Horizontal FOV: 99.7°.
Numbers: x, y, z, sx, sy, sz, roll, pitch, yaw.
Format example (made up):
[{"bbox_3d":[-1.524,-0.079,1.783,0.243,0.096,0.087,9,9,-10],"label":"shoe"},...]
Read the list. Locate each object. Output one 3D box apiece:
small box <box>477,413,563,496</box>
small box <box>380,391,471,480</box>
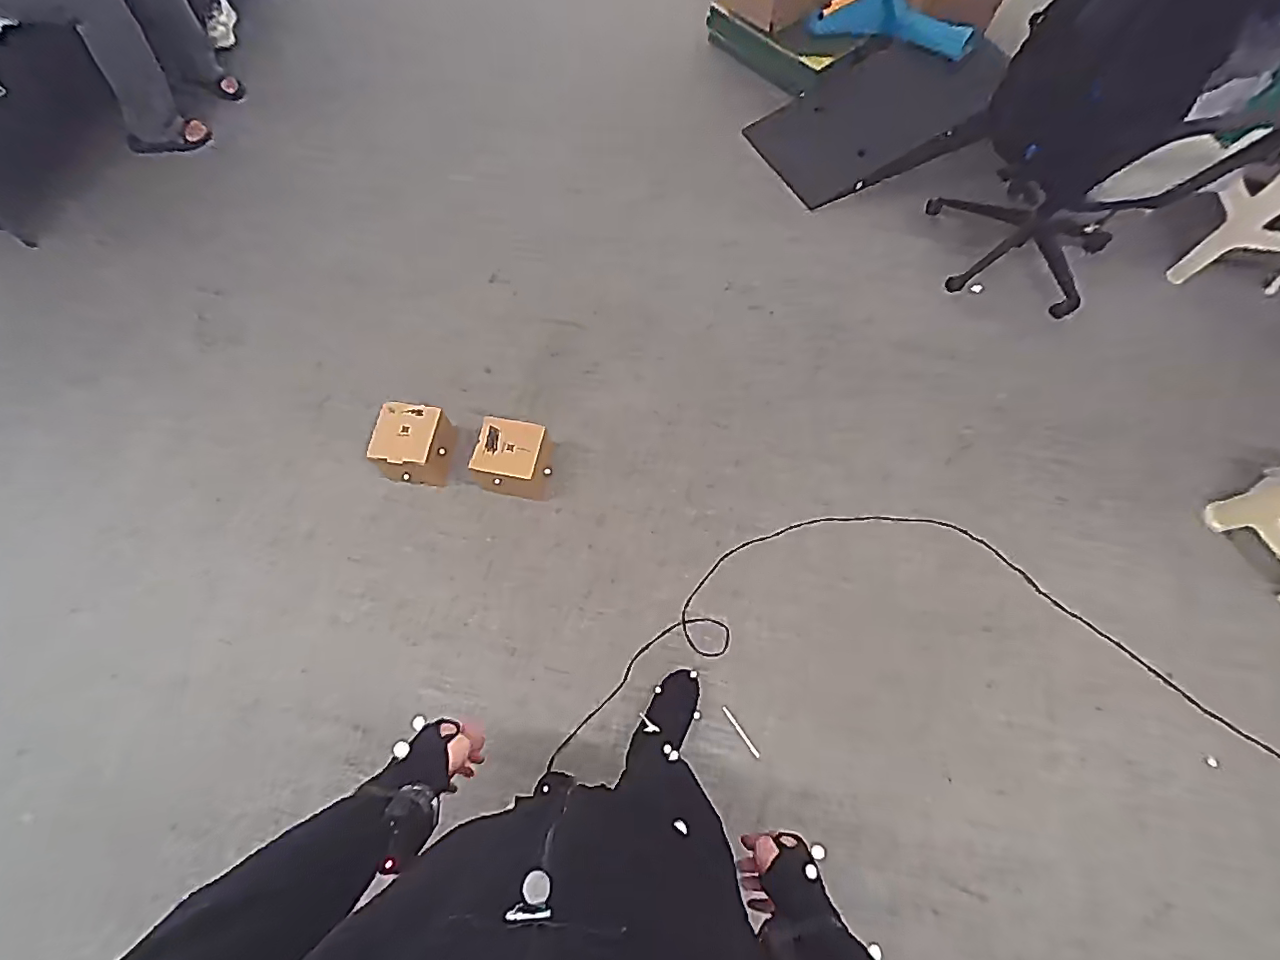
[{"bbox_3d":[-0.336,-0.068,1.553,0.179,0.176,0.168,14,70,6],"label":"small box"},{"bbox_3d":[-0.619,-0.124,1.571,0.179,0.176,0.168,-21,67,-7],"label":"small box"}]
